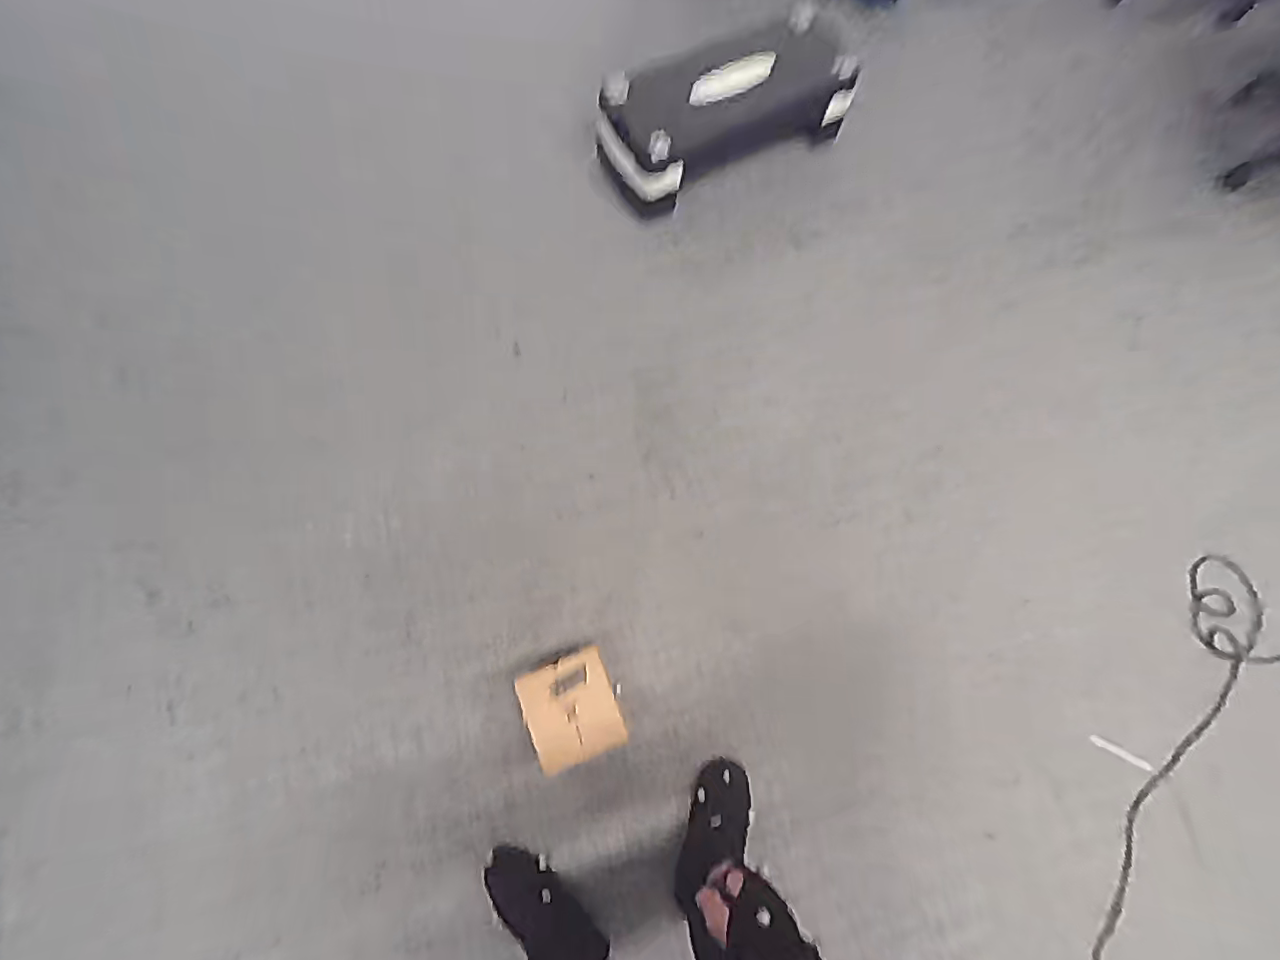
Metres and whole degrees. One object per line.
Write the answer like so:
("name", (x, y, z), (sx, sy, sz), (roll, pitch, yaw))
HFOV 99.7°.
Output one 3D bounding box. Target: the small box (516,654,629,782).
("small box", (-0.130, 0.460, 1.075), (0.168, 0.176, 0.179), (-22, 76, -8))
